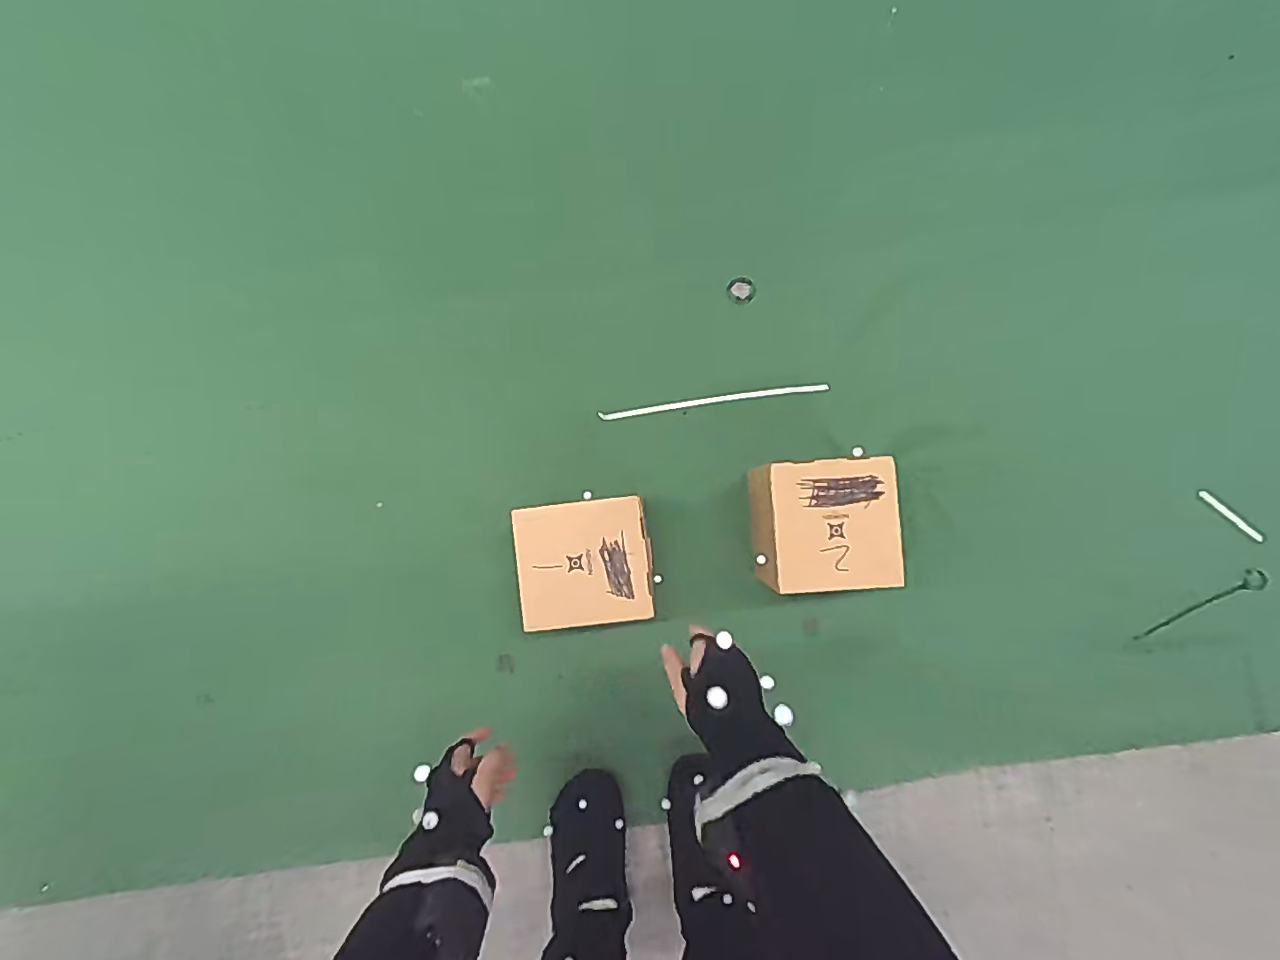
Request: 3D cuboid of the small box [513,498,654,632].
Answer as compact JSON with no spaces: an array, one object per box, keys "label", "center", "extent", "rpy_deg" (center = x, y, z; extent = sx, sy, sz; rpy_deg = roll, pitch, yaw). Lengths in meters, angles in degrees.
[{"label":"small box","center":[-0.074,0.116,0.799],"extent":[0.179,0.176,0.168],"rpy_deg":[-7,87,2]}]
